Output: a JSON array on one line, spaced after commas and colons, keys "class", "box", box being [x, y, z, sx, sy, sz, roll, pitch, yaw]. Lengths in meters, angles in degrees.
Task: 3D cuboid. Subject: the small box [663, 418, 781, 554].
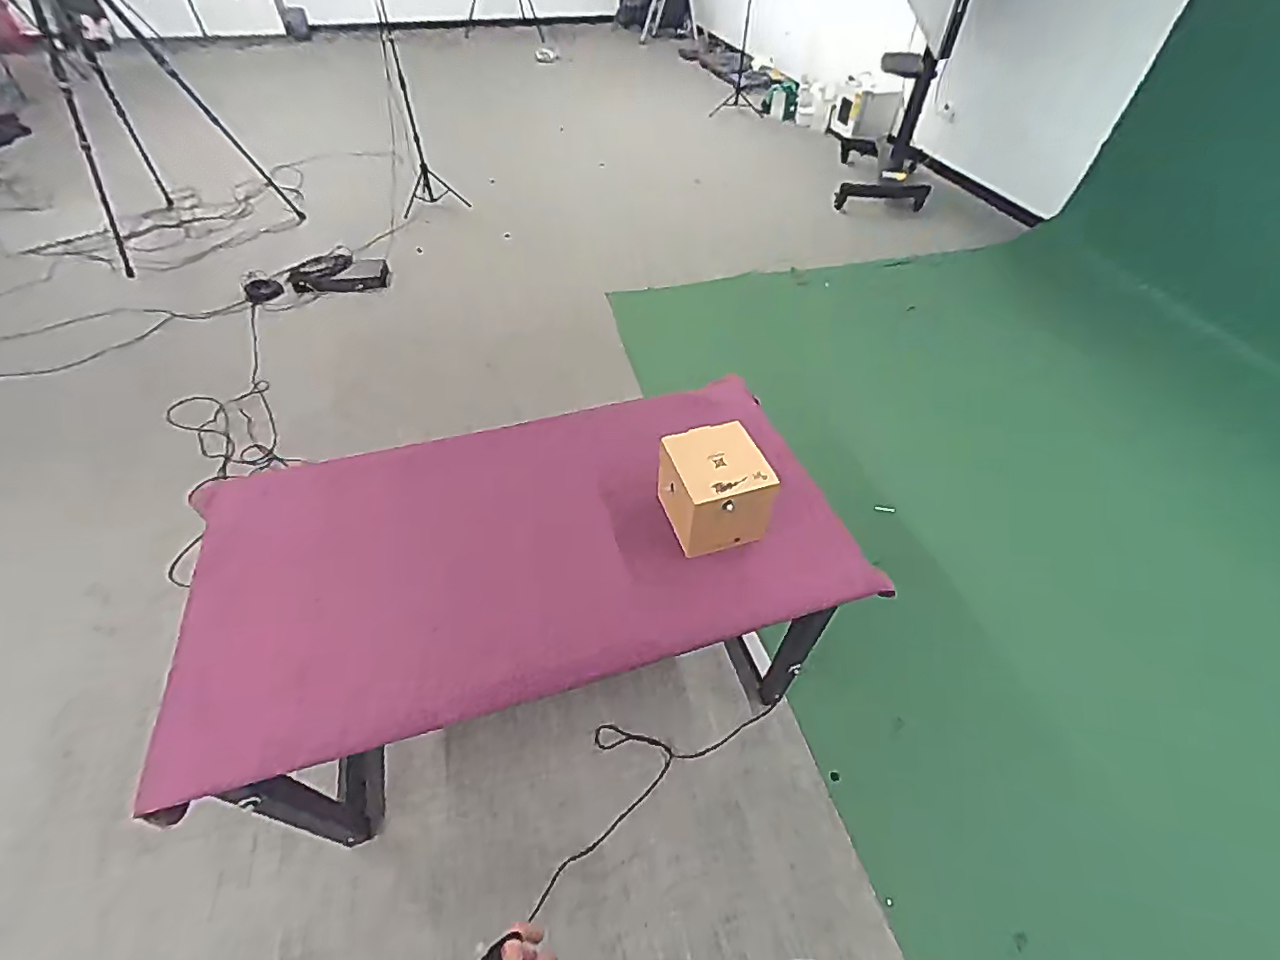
[{"class": "small box", "box": [0.146, 0.012, 1.042, 0.168, 0.176, 0.179, -15, 49, -11]}]
